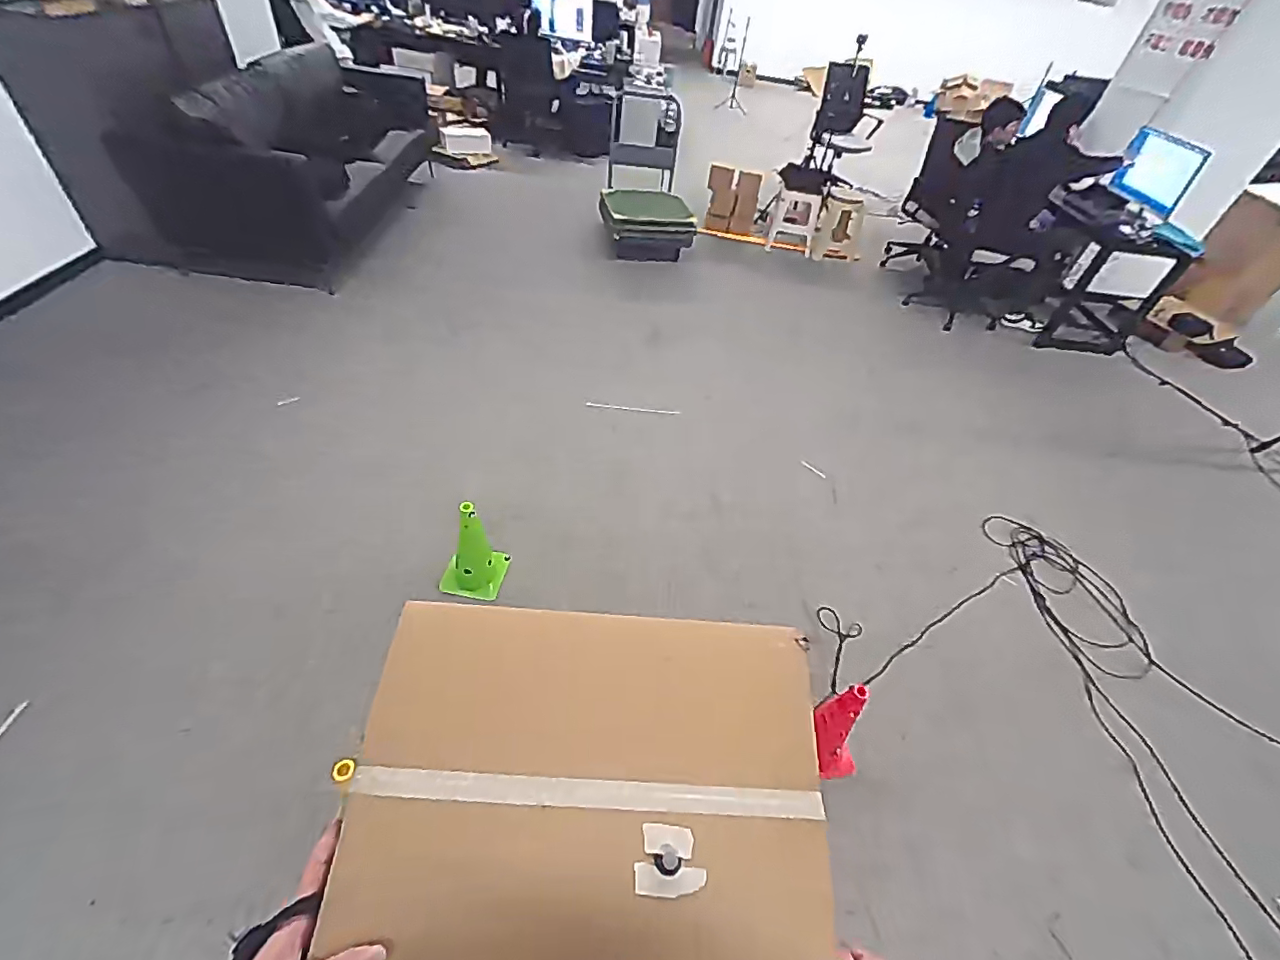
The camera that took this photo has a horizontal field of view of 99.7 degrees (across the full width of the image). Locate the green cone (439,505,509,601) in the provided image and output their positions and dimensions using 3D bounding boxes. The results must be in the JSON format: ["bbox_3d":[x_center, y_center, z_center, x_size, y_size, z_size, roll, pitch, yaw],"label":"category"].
[{"bbox_3d":[-0.565,0.209,1.784,0.200,0.368,0.202,10,46,1],"label":"green cone"}]

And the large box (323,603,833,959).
[{"bbox_3d":[-0.052,0.346,0.608,0.408,0.320,0.320,5,60,-3],"label":"large box"}]
